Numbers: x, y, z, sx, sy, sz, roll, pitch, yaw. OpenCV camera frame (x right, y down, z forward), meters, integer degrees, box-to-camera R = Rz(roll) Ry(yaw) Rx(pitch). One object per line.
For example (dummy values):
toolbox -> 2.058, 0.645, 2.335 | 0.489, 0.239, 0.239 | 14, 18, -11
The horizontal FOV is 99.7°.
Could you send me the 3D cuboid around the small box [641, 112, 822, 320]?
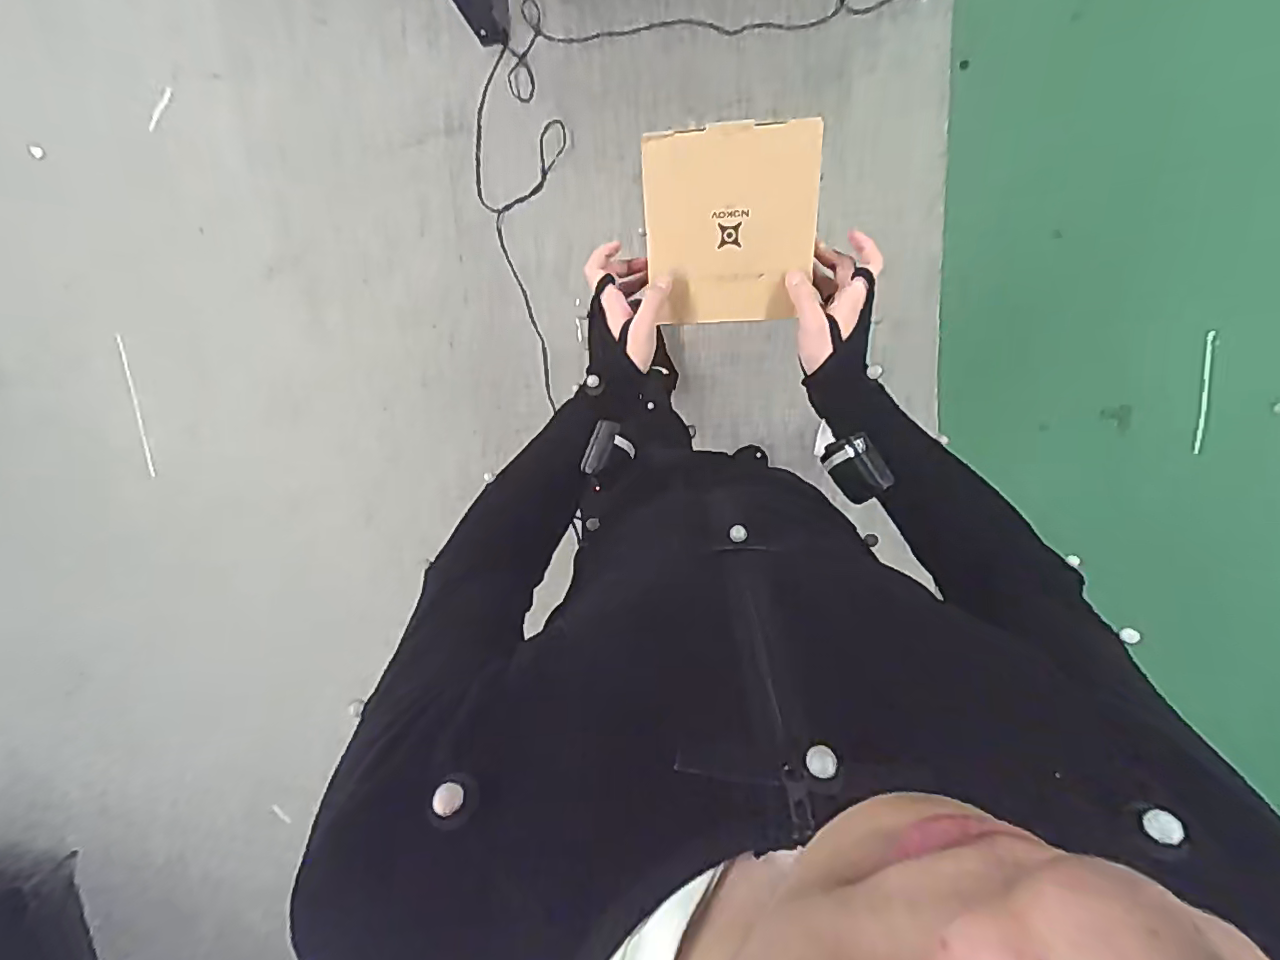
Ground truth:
small box -> 0.094, -0.282, 0.594 | 0.168, 0.176, 0.179 | 0, 118, 8
